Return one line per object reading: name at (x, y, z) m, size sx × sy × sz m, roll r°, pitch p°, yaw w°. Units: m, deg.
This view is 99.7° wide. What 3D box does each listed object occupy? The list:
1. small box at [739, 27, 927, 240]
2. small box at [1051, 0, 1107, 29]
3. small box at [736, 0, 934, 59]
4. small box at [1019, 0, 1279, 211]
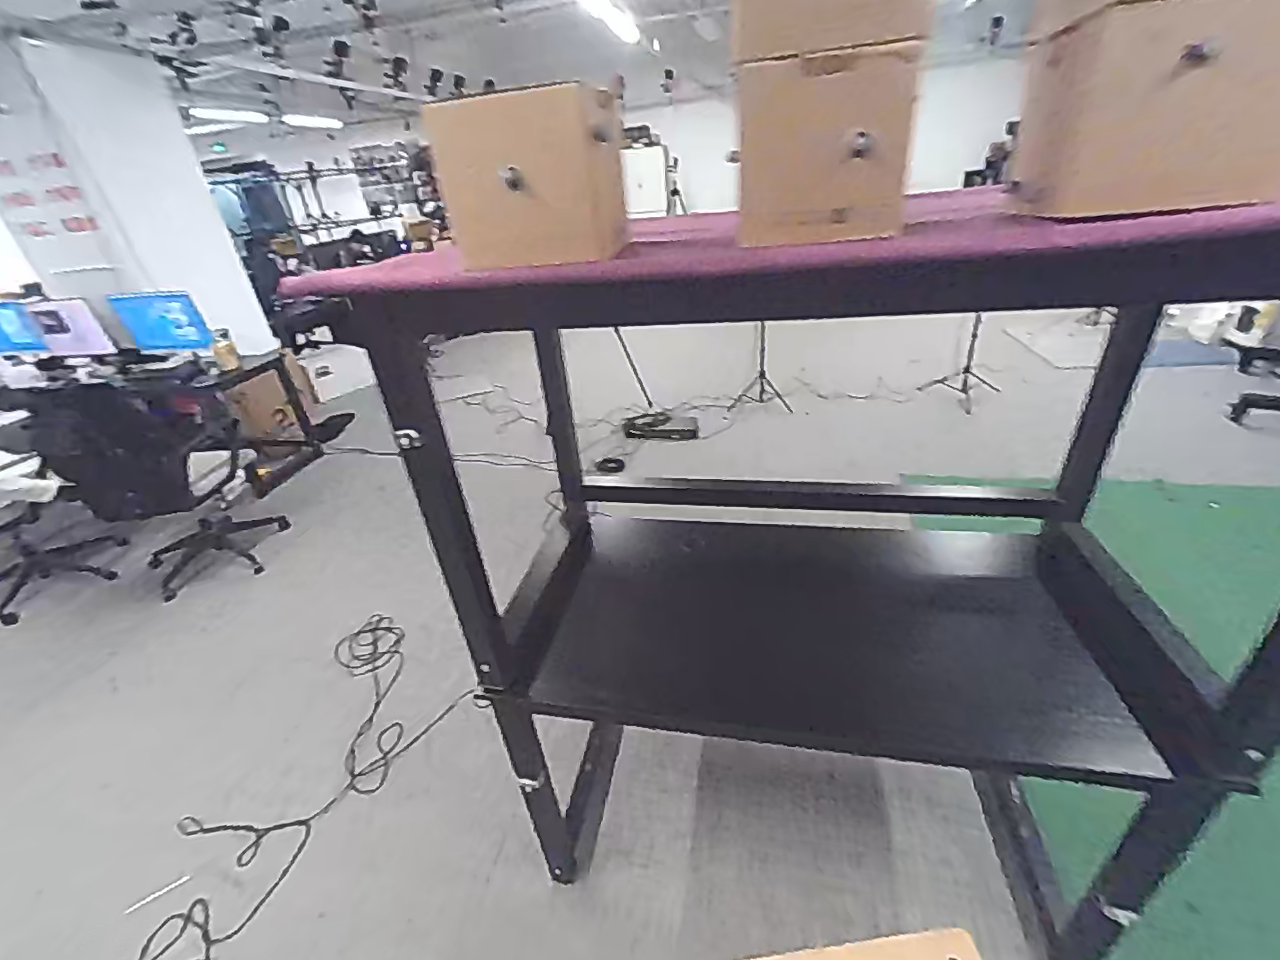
small box at (0.201, -0.365, 0.598) m, size 0.168 × 0.176 × 0.179 m, roll 3°, pitch 30°, yaw 14°
small box at (0.491, -0.512, 0.464) m, size 0.179 × 0.176 × 0.168 m, roll 1°, pitch 28°, yaw 13°
small box at (0.186, -0.508, 0.519) m, size 0.179 × 0.176 × 0.168 m, roll 3°, pitch 32°, yaw 15°
small box at (0.507, -0.366, 0.534) m, size 0.179 × 0.176 × 0.168 m, roll 1°, pitch 28°, yaw 13°
